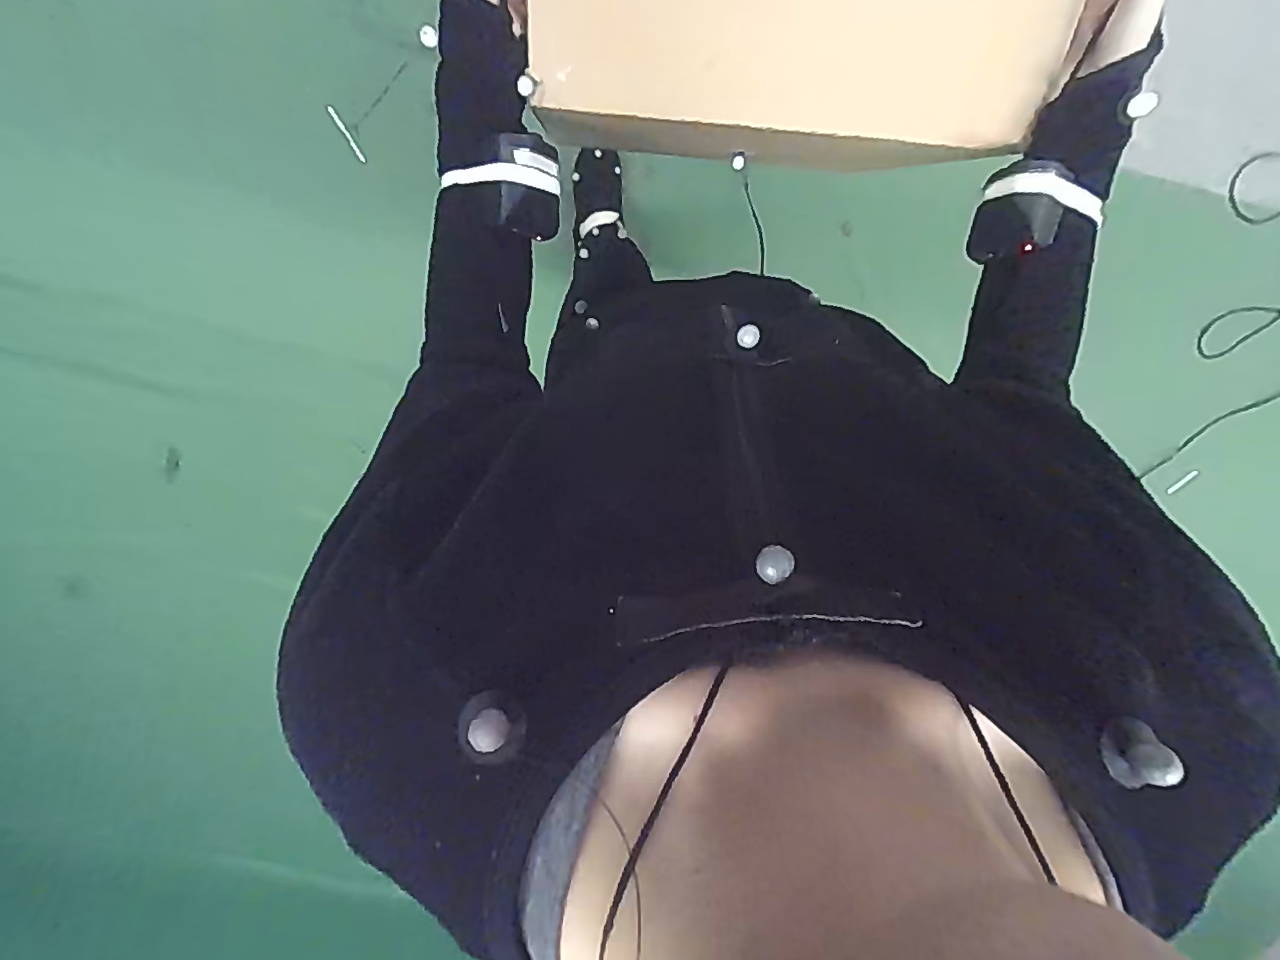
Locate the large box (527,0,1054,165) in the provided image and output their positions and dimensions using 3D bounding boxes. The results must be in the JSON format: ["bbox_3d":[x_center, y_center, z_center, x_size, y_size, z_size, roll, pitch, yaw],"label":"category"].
[{"bbox_3d":[0.113,-0.484,0.500,0.408,0.320,0.320,2,116,-5],"label":"large box"}]
